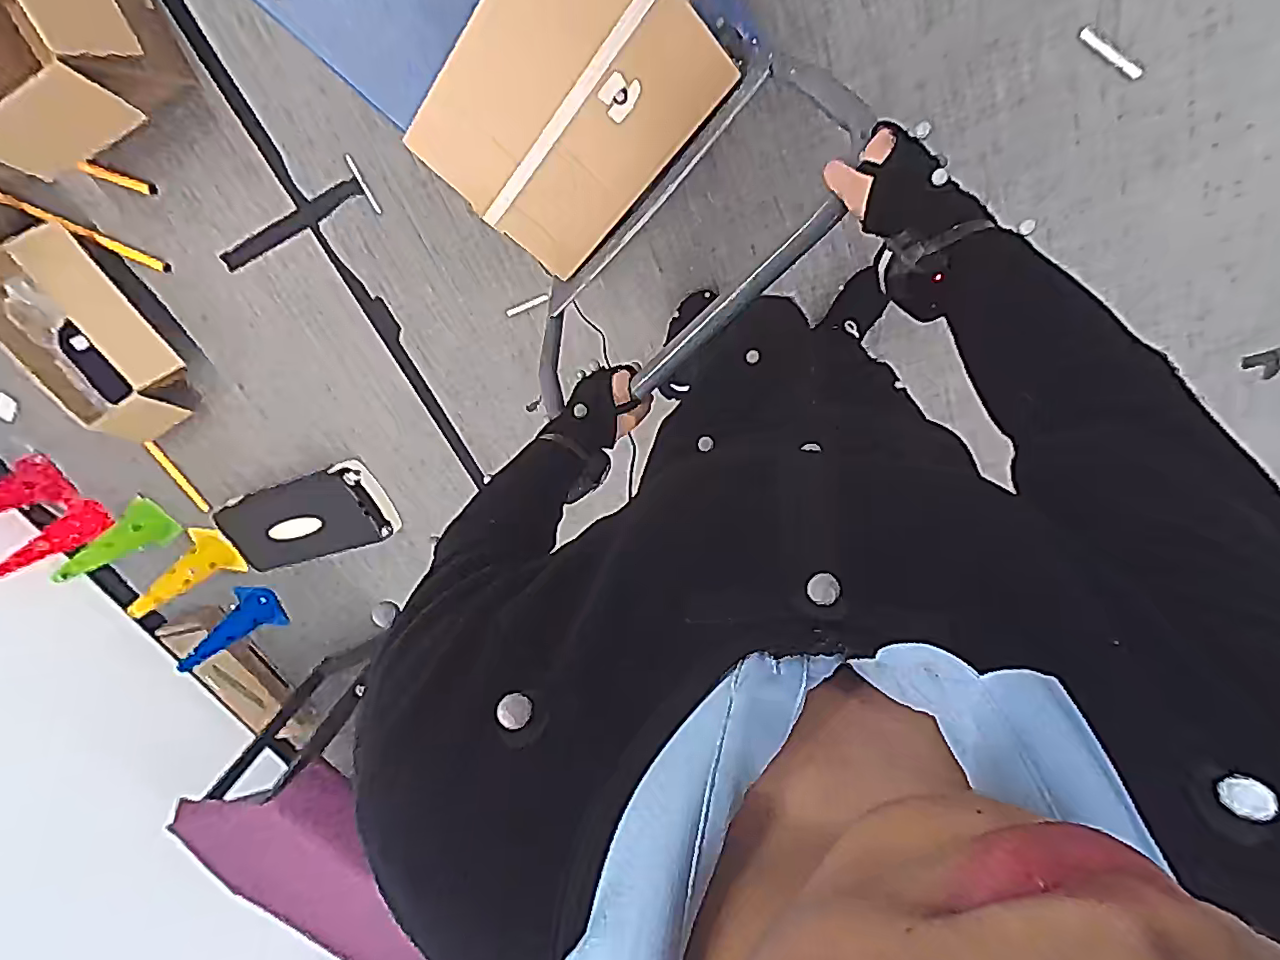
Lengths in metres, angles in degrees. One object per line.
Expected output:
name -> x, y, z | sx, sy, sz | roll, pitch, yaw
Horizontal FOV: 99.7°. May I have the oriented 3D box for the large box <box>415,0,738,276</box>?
large box -> -0.104, -0.639, 0.905 | 0.320, 0.320, 0.408 | 34, 121, -27
